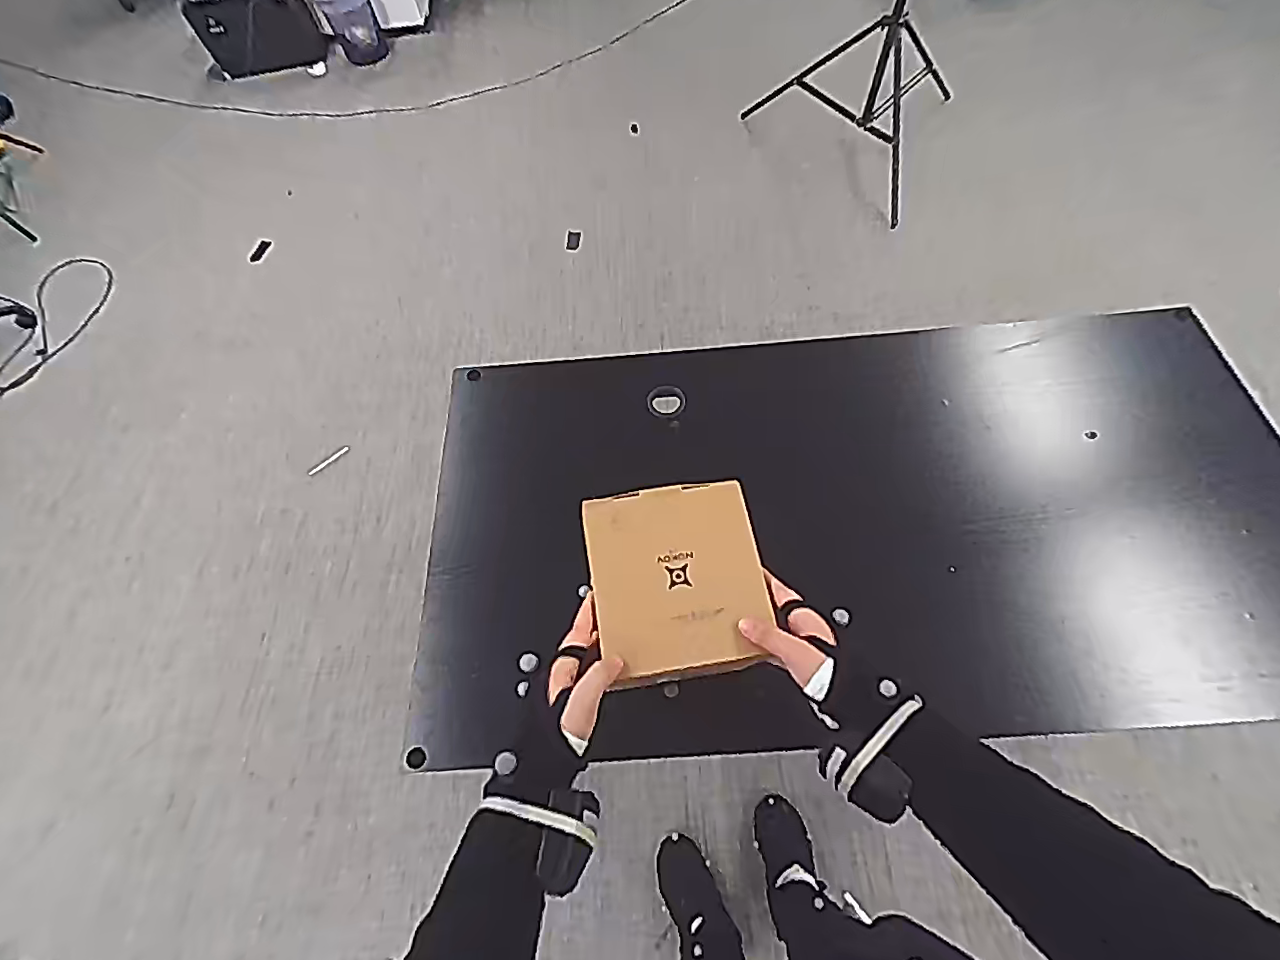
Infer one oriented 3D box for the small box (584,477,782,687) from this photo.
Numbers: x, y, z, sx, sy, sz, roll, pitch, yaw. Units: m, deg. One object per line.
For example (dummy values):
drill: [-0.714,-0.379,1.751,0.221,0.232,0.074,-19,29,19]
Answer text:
small box: [0.032,0.117,0.587,0.168,0.176,0.179,-8,67,-6]
